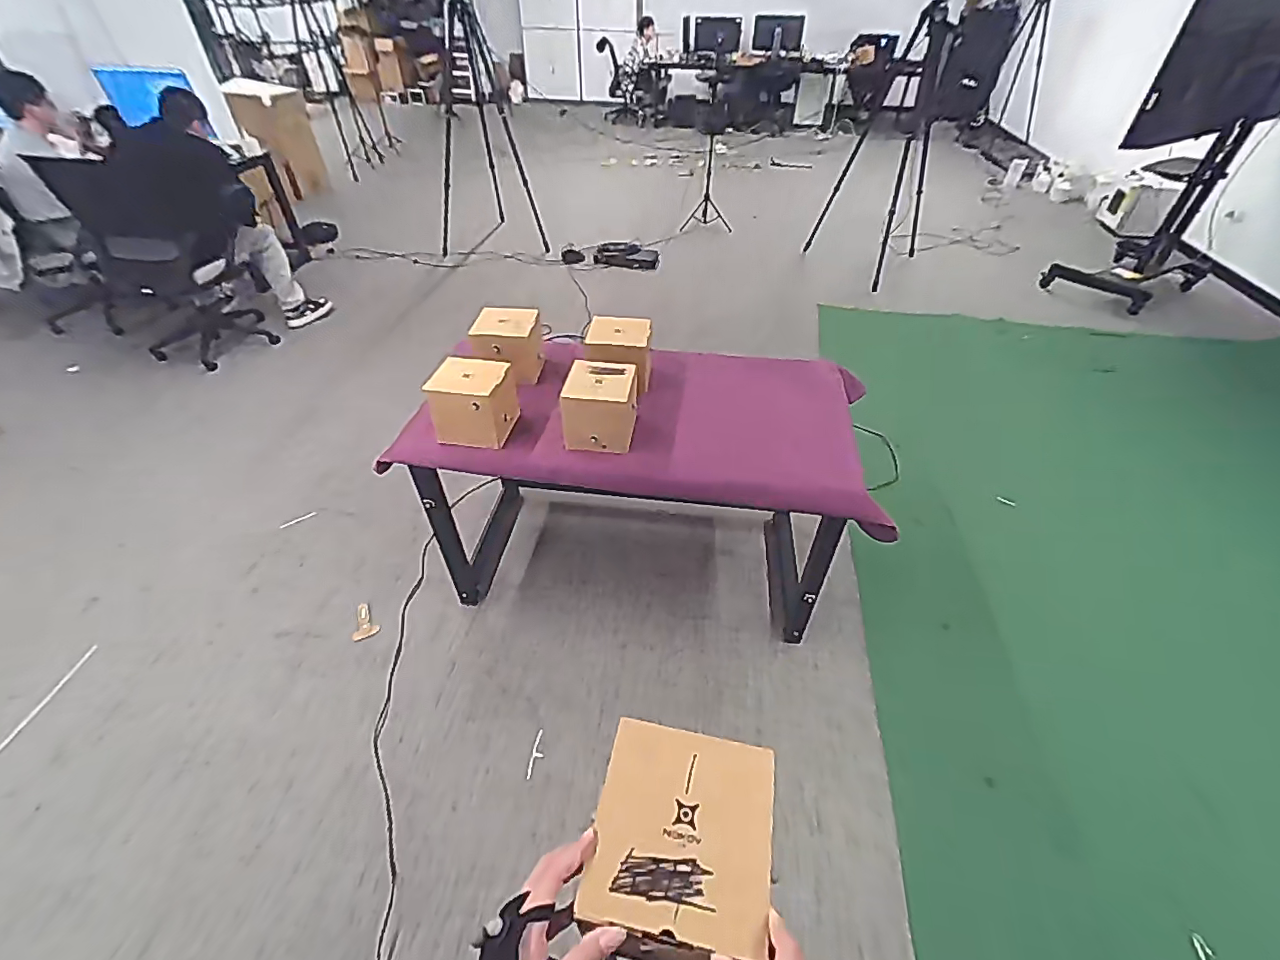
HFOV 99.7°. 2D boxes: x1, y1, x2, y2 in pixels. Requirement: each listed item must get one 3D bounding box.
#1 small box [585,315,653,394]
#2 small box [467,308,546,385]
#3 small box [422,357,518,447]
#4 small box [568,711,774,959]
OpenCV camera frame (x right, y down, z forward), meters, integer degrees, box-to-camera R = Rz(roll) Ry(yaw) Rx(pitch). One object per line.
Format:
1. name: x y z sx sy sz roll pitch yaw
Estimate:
1. small box: -0.057 -0.366 1.588 0.179 0.176 0.168 4 43 5
2. small box: -0.392 -0.399 1.619 0.179 0.176 0.168 4 44 3
3. small box: -0.433 -0.202 1.411 0.179 0.176 0.168 6 42 6
4. small box: 0.038 0.372 0.551 0.168 0.176 0.179 8 42 9
